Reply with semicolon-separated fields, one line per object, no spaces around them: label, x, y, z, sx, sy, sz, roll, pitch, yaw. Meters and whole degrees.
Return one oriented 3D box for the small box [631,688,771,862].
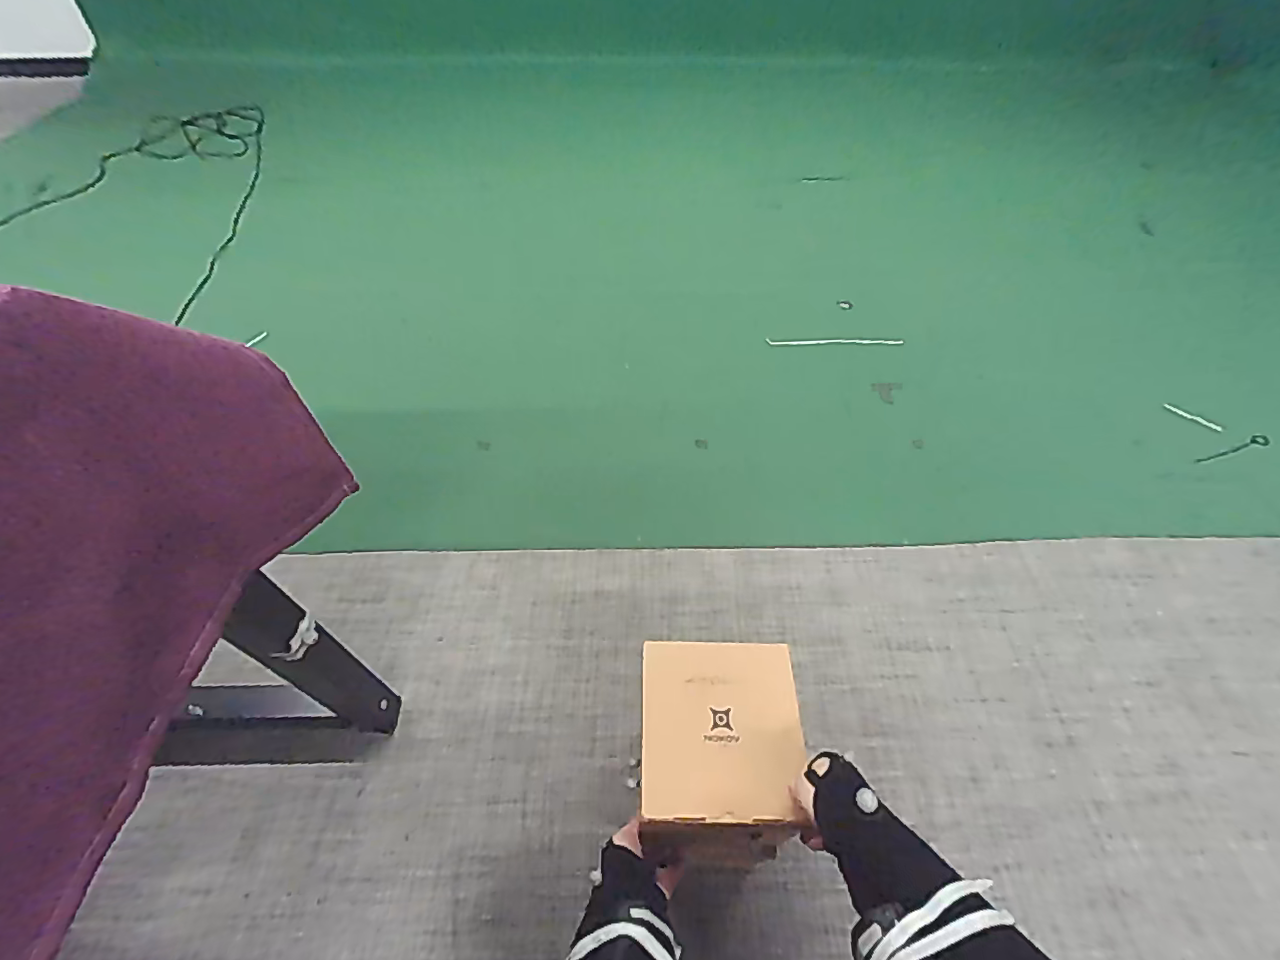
small box;0.078;0.407;0.740;0.168;0.176;0.179;4;49;2
